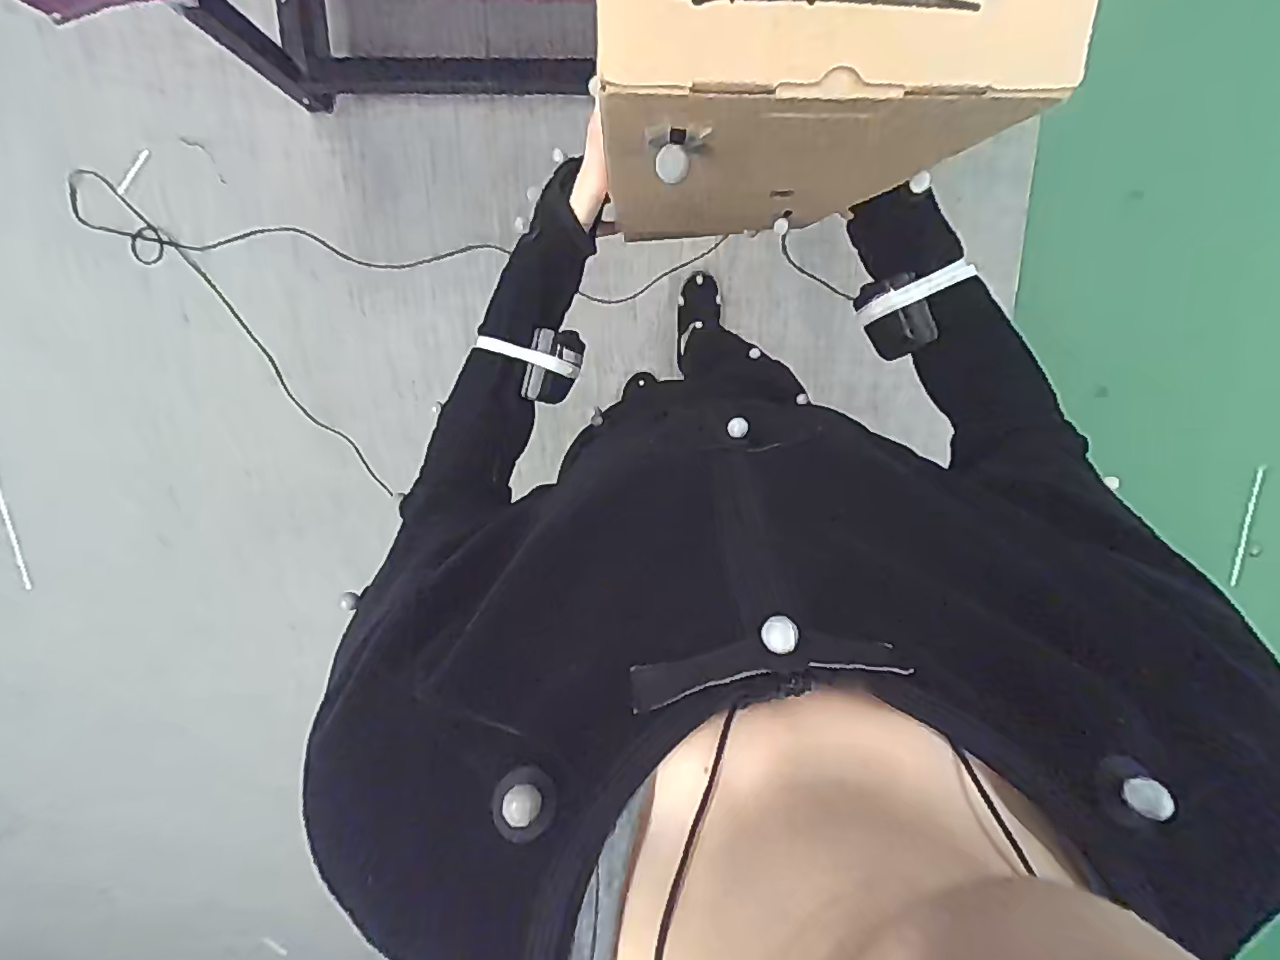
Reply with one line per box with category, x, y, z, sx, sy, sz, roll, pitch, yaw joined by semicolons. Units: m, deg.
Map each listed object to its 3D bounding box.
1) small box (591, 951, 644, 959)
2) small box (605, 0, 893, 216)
small box;-0.072;1.532;1.582;0.179;0.176;0.168;-4;102;-2
small box;0.063;-0.302;0.401;0.179;0.176;0.168;-1;106;-1
